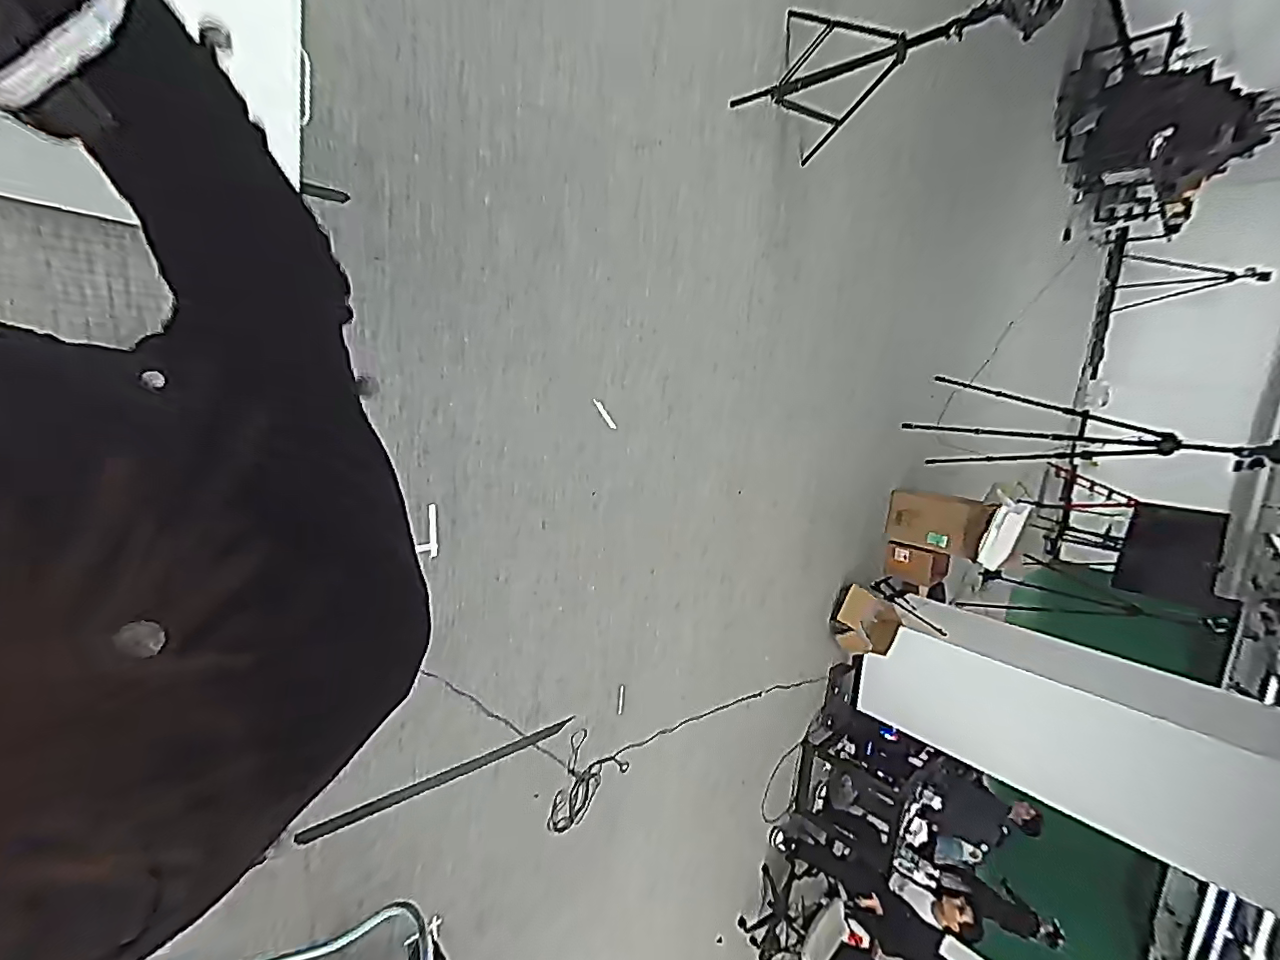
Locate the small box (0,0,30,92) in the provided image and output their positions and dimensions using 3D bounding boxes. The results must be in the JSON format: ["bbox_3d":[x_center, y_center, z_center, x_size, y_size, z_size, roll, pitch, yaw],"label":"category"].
[{"bbox_3d":[-0.744,-0.541,0.539,0.168,0.176,0.179,-1,100,-43],"label":"small box"}]
